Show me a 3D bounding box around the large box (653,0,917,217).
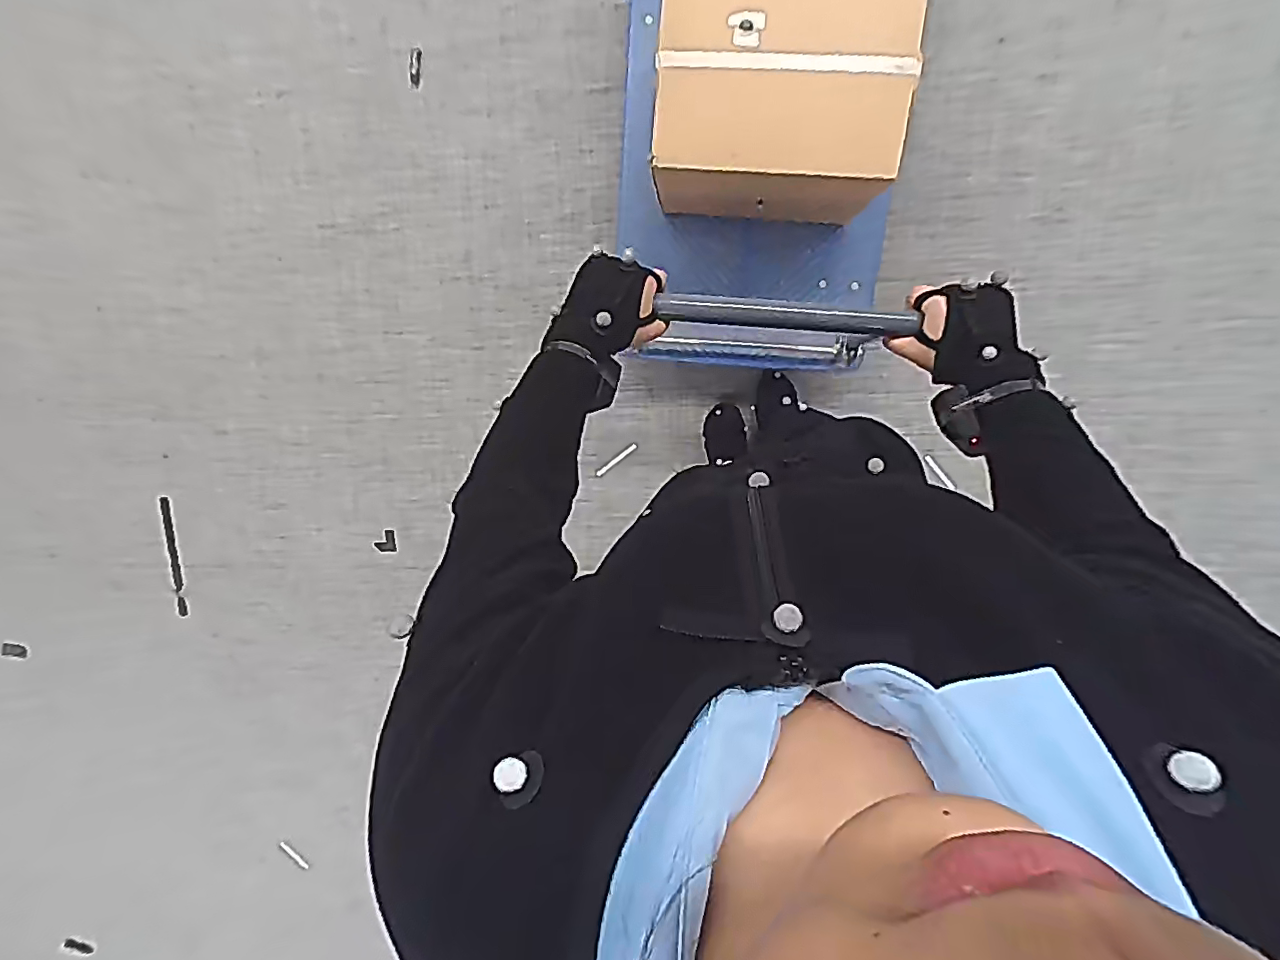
[{"bbox_3d":[0.248,-0.701,1.022,0.408,0.320,0.320,6,103,6],"label":"large box"}]
